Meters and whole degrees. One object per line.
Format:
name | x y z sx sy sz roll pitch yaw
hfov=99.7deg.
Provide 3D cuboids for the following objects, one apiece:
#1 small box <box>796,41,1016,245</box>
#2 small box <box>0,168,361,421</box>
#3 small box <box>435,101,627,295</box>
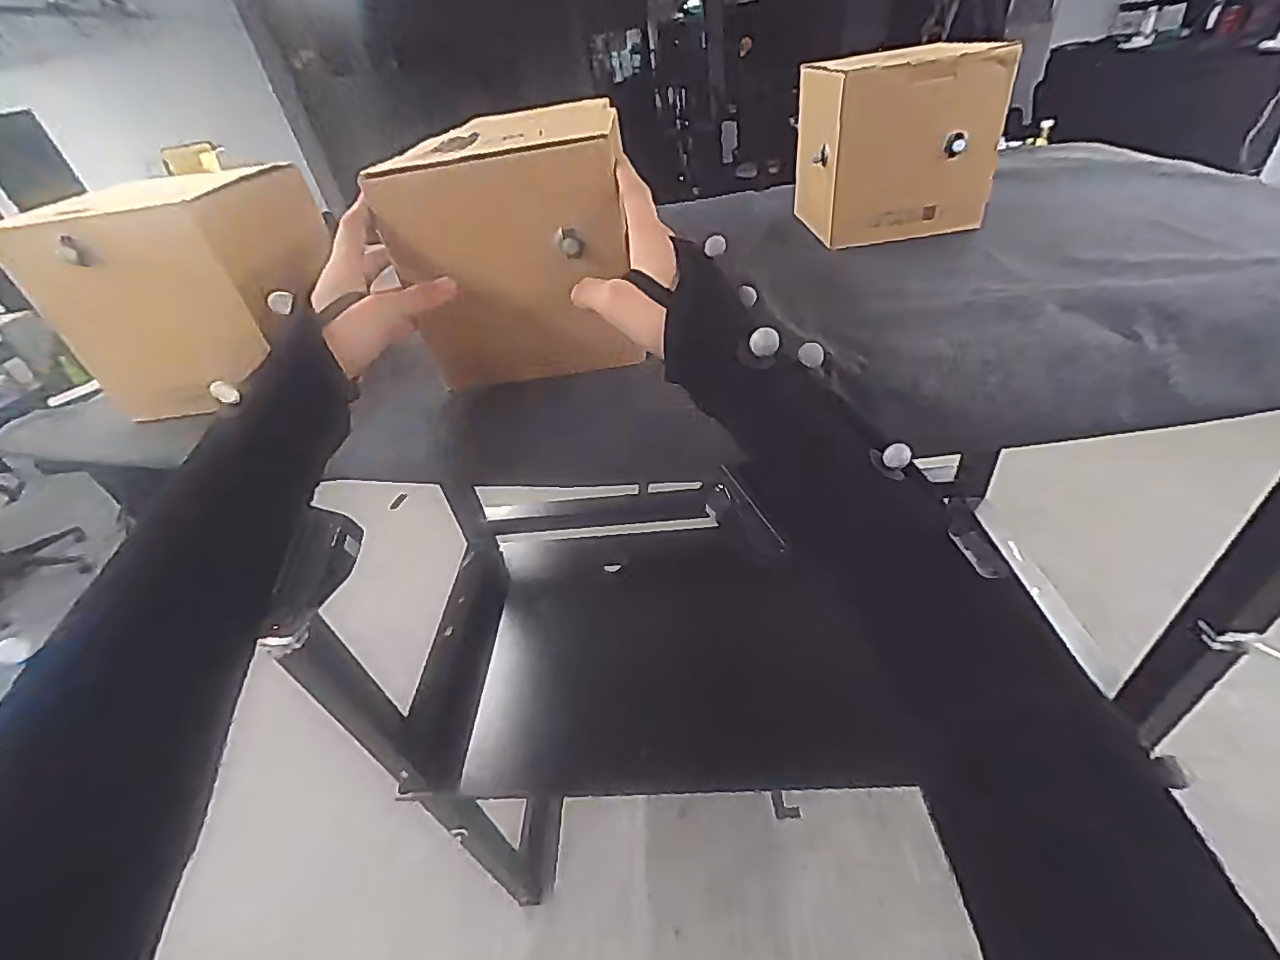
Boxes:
small box | 0.282 -0.382 0.622 0.168 0.176 0.179 -6 39 4
small box | -0.394 -0.175 0.505 0.168 0.176 0.179 -7 38 4
small box | -0.115 -0.344 0.664 0.179 0.176 0.168 -5 39 7
